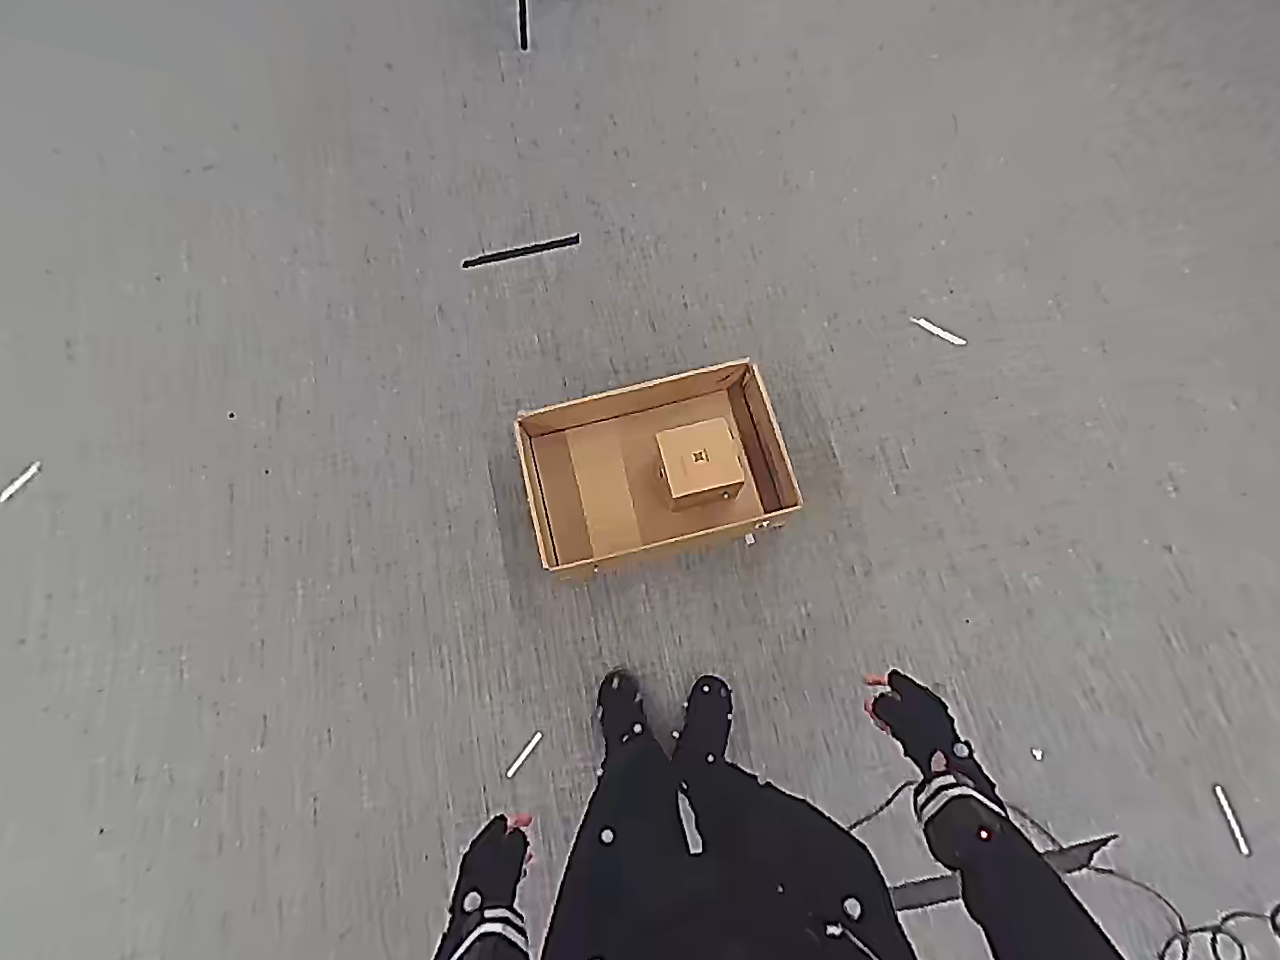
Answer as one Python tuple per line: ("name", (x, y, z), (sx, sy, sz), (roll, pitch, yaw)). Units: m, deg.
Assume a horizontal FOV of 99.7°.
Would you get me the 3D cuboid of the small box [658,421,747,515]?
("small box", (0.147, -0.024, 1.334), (0.179, 0.176, 0.168), (-15, 74, -1))
